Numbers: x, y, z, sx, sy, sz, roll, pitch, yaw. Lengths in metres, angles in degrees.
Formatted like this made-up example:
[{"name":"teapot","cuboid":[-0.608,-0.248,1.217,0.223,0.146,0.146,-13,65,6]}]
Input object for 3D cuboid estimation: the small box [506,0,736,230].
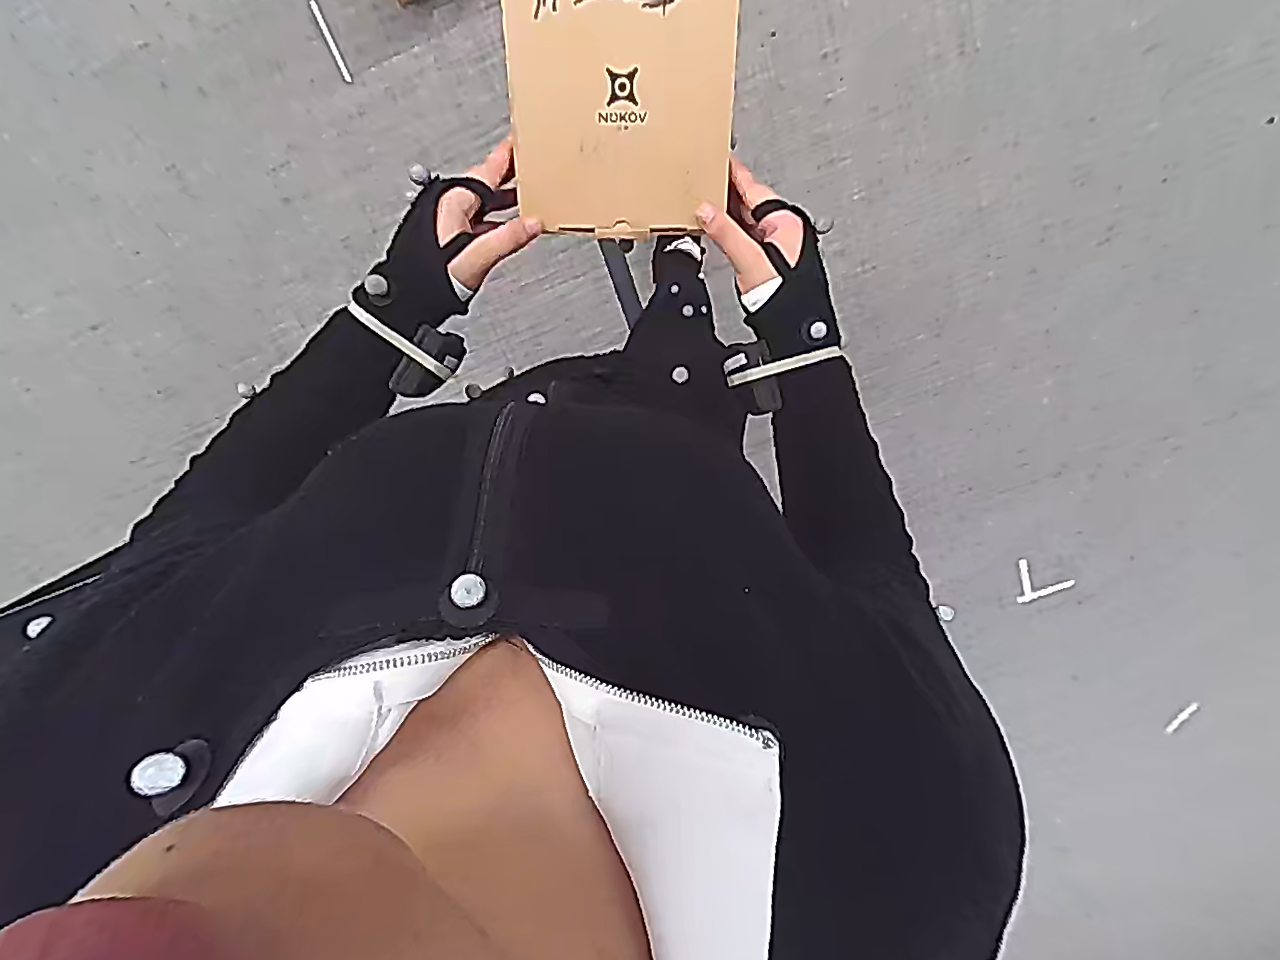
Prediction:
[{"name":"small box","cuboid":[-0.011,-0.319,0.477,0.168,0.176,0.179,0,115,1]}]
